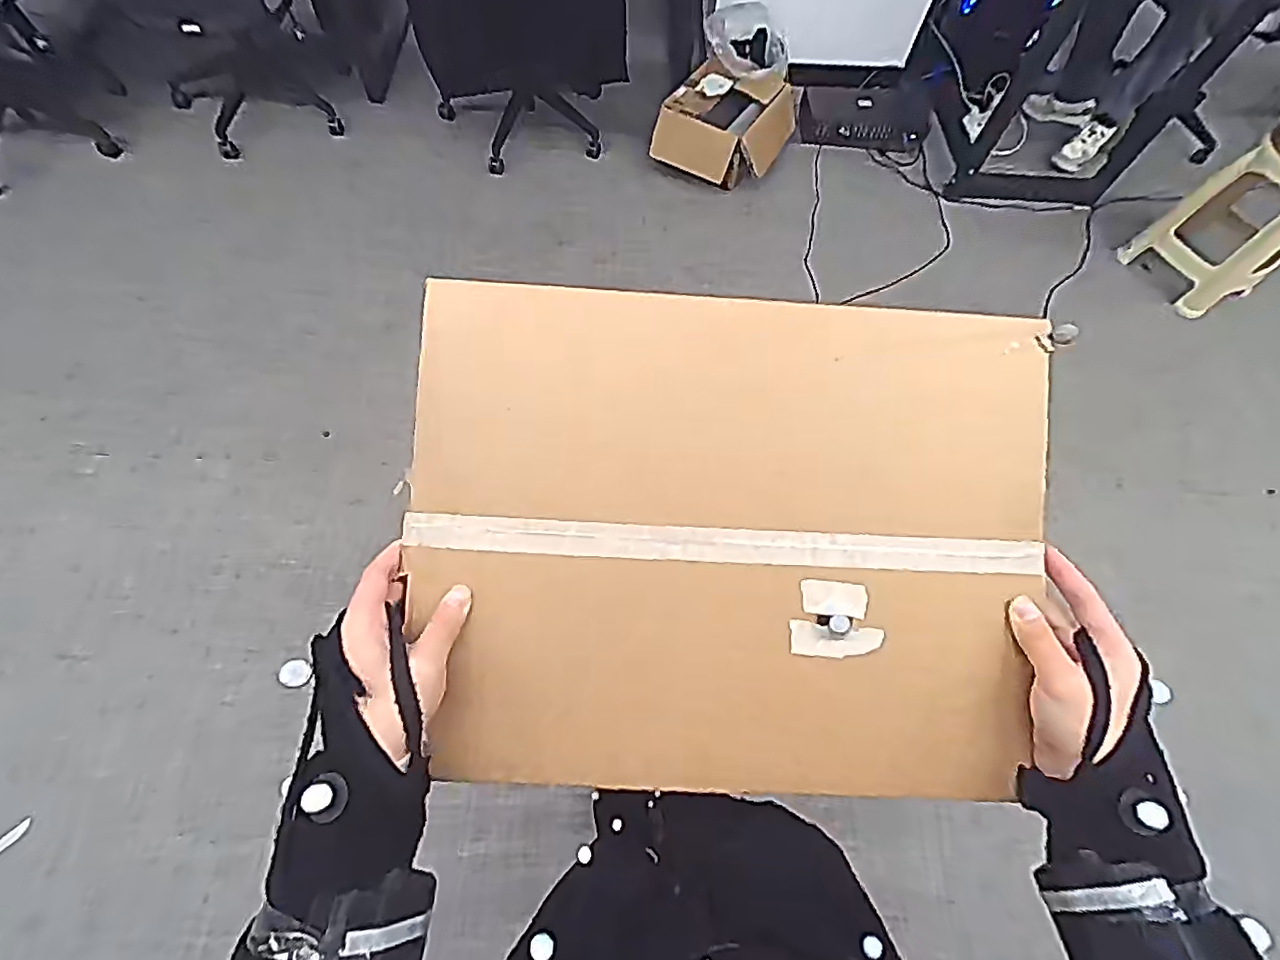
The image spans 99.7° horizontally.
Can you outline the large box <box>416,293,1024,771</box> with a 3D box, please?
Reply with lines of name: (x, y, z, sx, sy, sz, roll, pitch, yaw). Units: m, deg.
large box: (0.050, 0.040, 0.506, 0.408, 0.320, 0.320, 3, 89, -2)
